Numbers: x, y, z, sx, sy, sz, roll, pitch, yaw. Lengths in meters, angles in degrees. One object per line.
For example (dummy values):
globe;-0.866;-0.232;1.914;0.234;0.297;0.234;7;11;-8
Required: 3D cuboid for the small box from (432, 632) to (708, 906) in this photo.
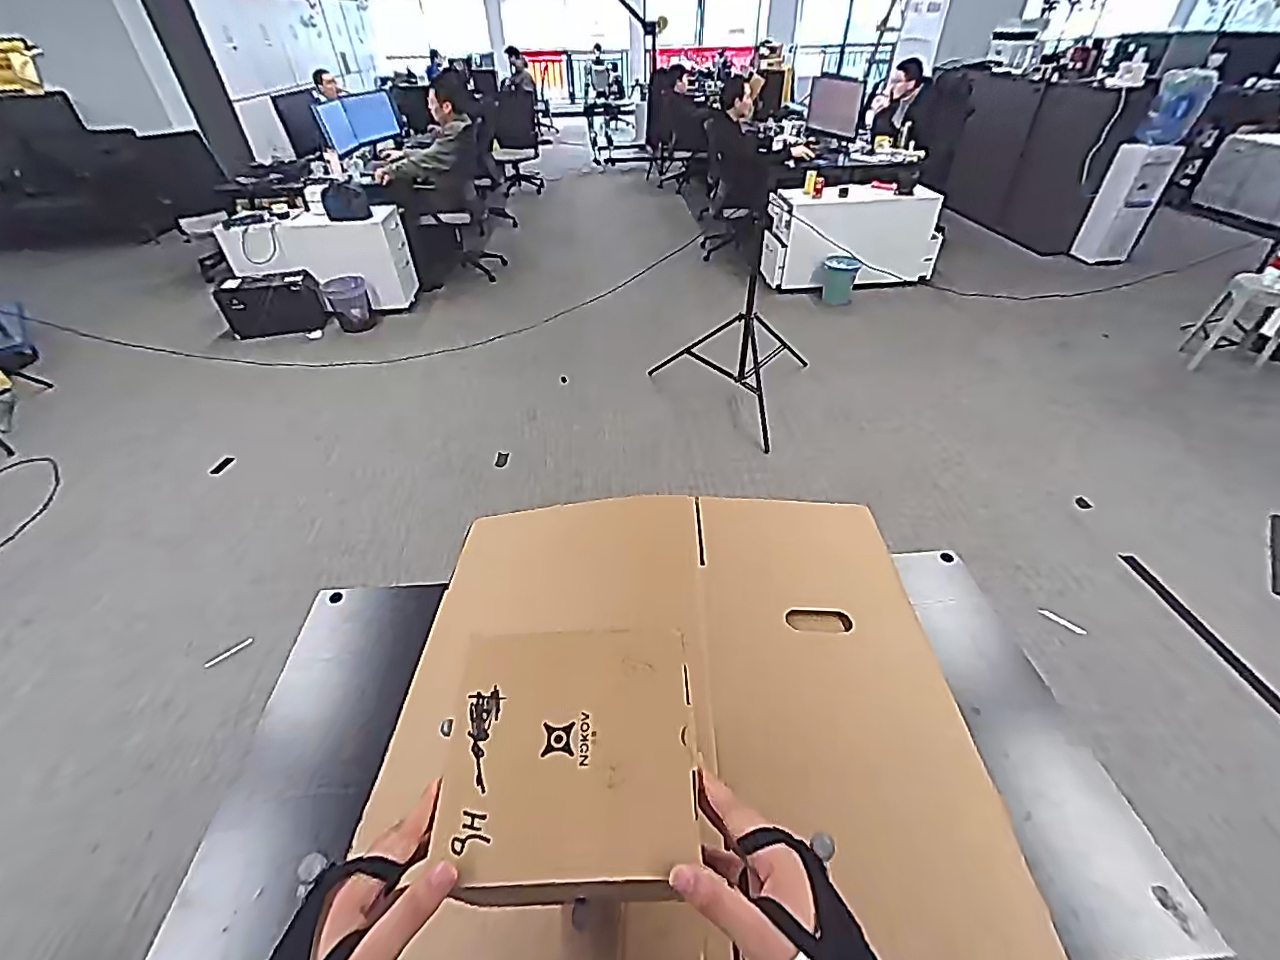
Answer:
small box;-0.047;0.241;0.450;0.179;0.176;0.168;-1;47;-2
